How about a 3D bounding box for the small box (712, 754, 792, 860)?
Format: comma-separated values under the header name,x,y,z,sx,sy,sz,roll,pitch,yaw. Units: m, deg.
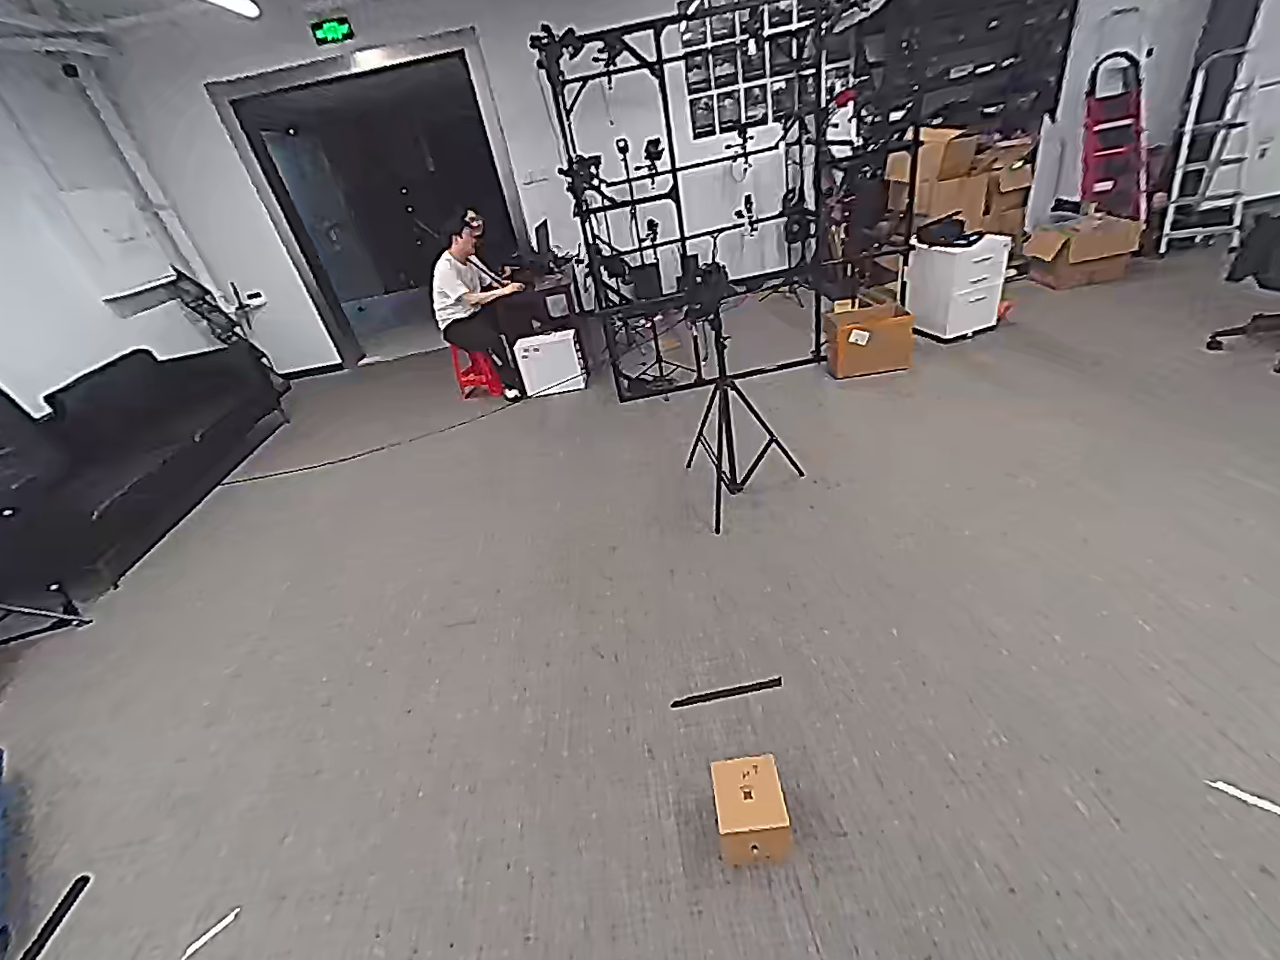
name,x,y,z,sx,sy,sz,roll,pitch,yaw
small box,0.280,0.827,1.359,0.168,0.176,0.179,-9,32,4
